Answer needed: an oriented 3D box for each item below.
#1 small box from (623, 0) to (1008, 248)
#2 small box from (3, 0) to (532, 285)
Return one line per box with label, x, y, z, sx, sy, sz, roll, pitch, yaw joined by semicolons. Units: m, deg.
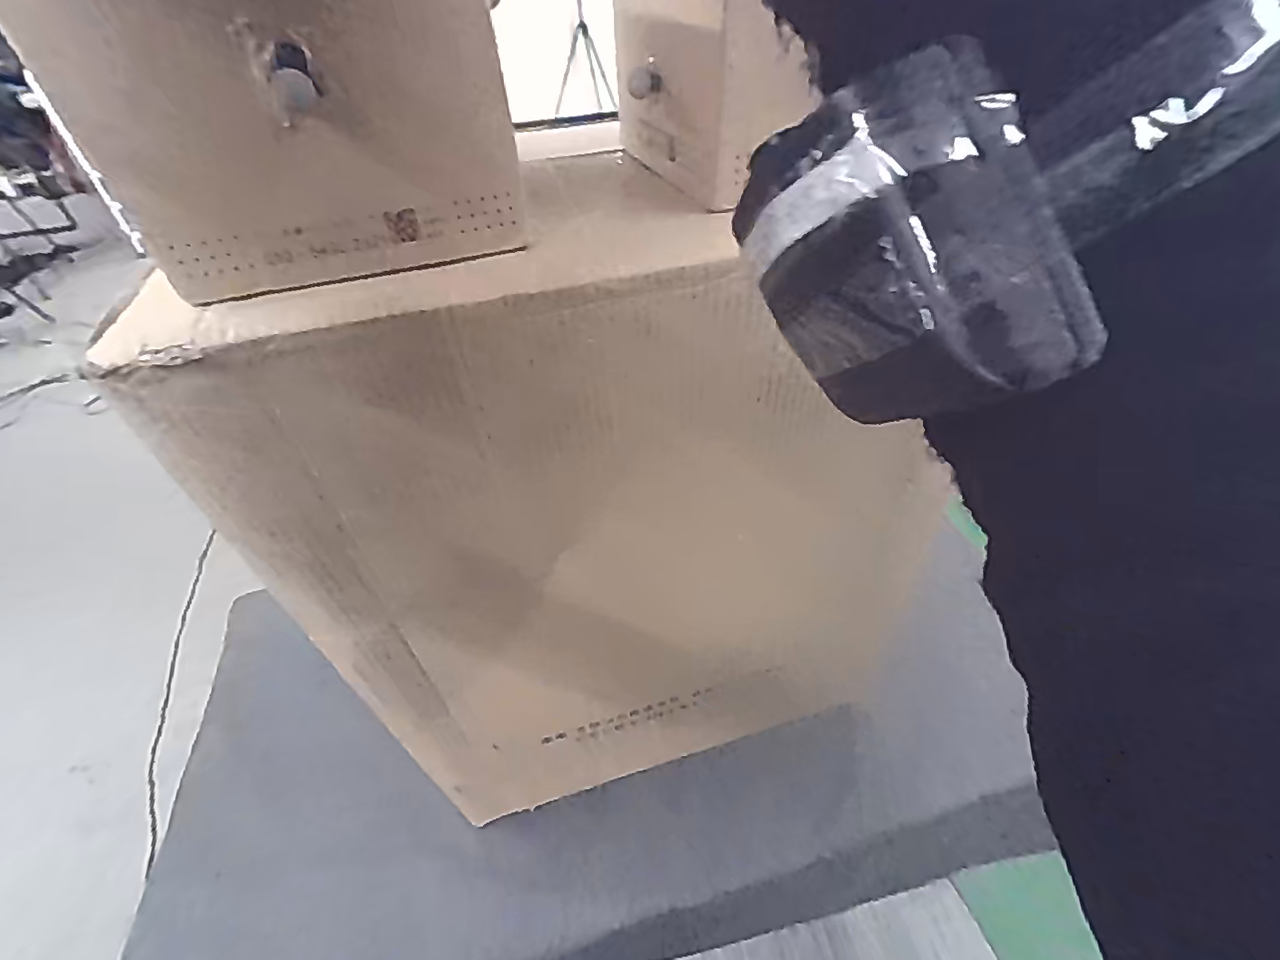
small box;0.092;-0.266;0.338;0.179;0.176;0.168;-16;45;-13
small box;-0.160;-0.212;0.271;0.168;0.176;0.179;-15;46;-12
